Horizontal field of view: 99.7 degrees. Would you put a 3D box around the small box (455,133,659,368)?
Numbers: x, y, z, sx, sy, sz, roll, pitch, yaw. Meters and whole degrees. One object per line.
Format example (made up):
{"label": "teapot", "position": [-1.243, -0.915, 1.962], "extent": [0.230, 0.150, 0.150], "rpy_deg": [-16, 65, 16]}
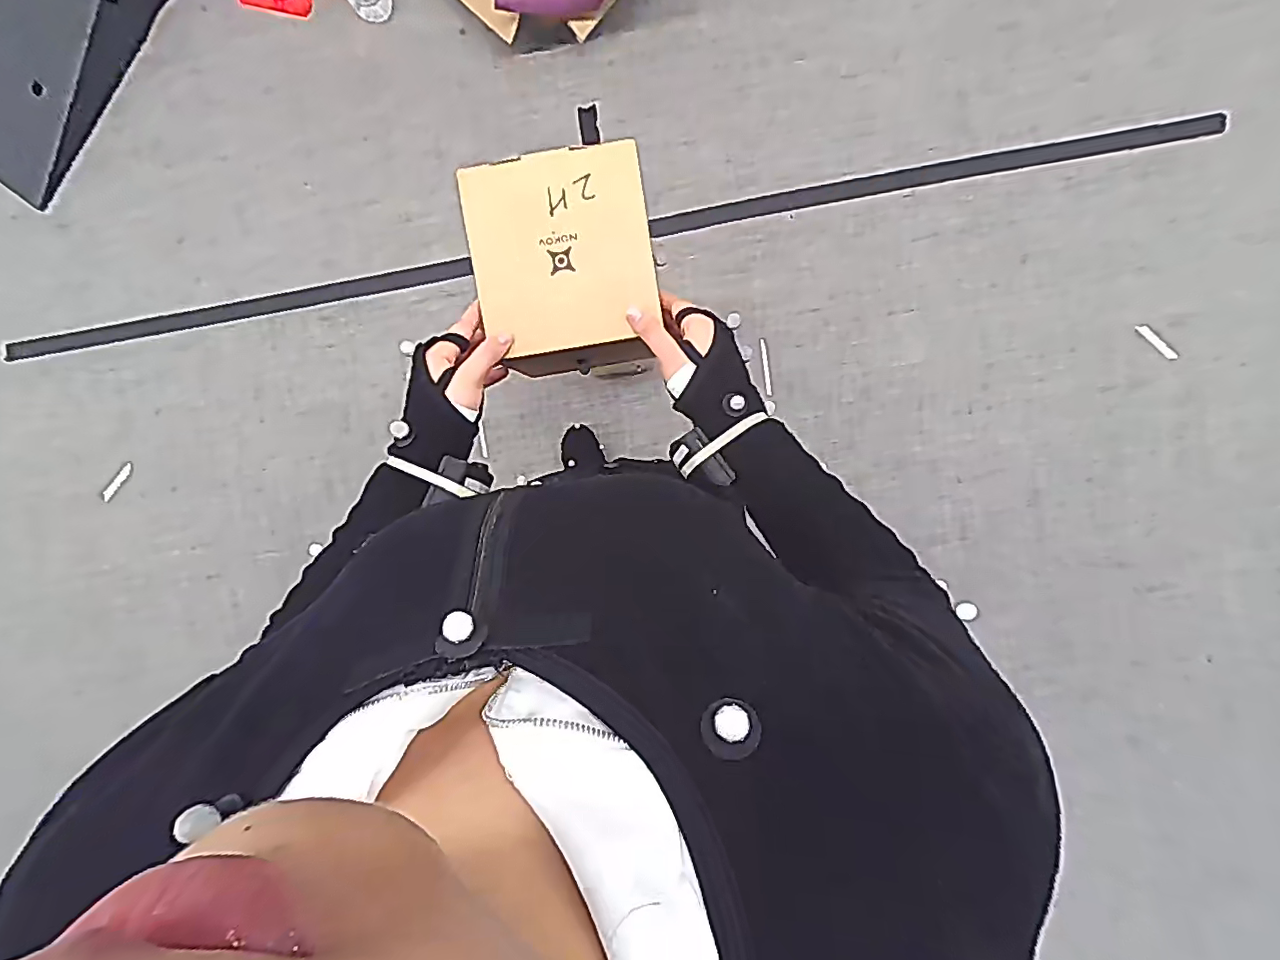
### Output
{"label": "small box", "position": [-0.071, -0.219, 0.570], "extent": [0.168, 0.176, 0.179], "rpy_deg": [-9, 95, 2]}

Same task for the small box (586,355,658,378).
{"label": "small box", "position": [-0.051, -0.364, 1.393], "extent": [0.179, 0.176, 0.168], "rpy_deg": [-9, 93, 4]}

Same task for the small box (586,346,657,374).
{"label": "small box", "position": [-0.056, -0.353, 1.230], "extent": [0.168, 0.176, 0.179], "rpy_deg": [-11, 92, 3]}
